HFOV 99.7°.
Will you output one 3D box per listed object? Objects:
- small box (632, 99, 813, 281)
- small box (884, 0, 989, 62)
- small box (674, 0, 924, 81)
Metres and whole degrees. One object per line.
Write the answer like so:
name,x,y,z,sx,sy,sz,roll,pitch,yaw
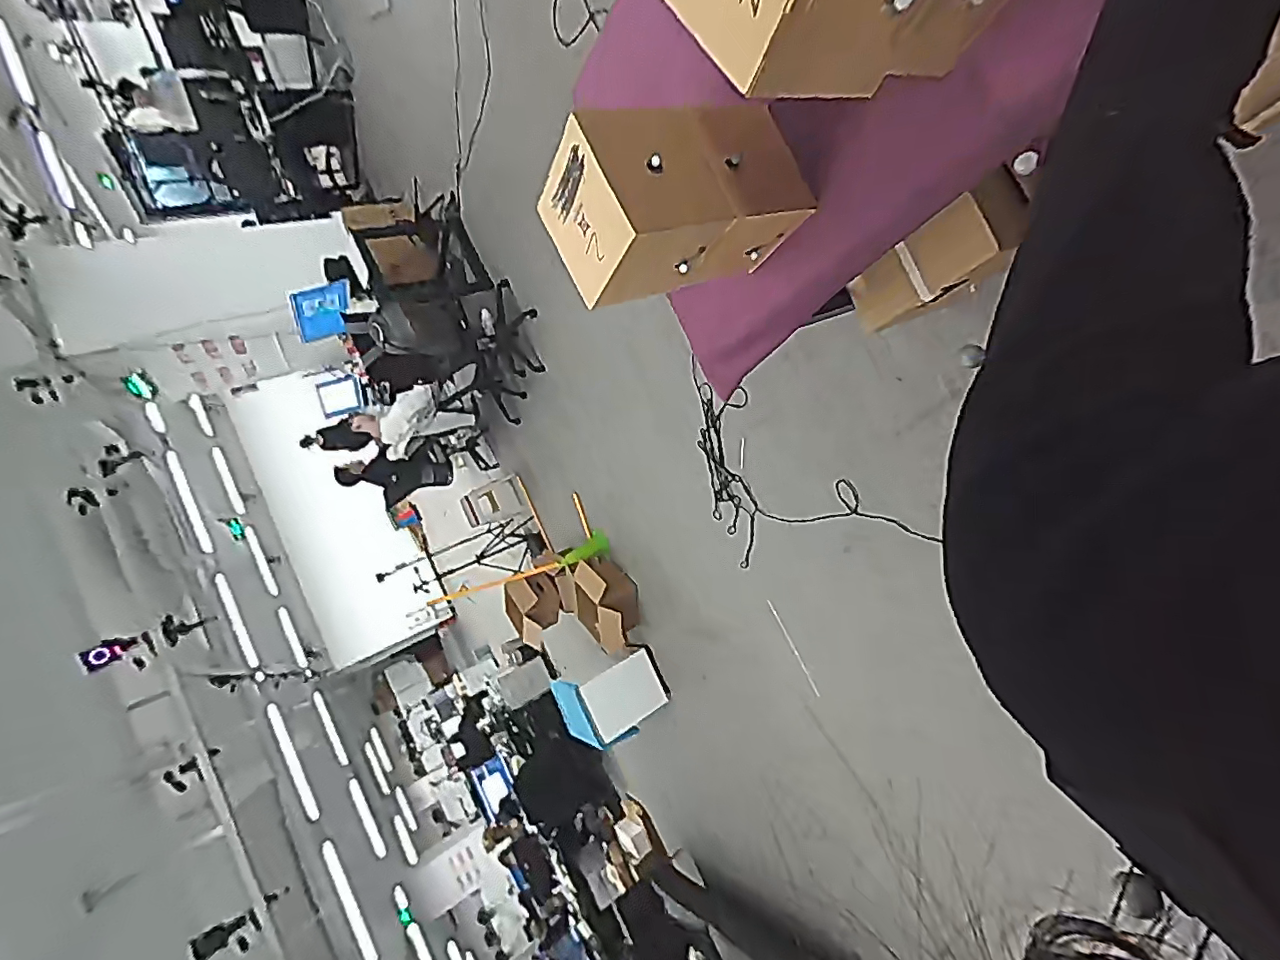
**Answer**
small box,0.122,-0.432,0.817,0.179,0.176,0.168,64,151,4
small box,0.261,-0.533,0.506,0.179,0.176,0.168,62,151,9
small box,0.135,-0.453,0.430,0.179,0.176,0.168,59,151,14
